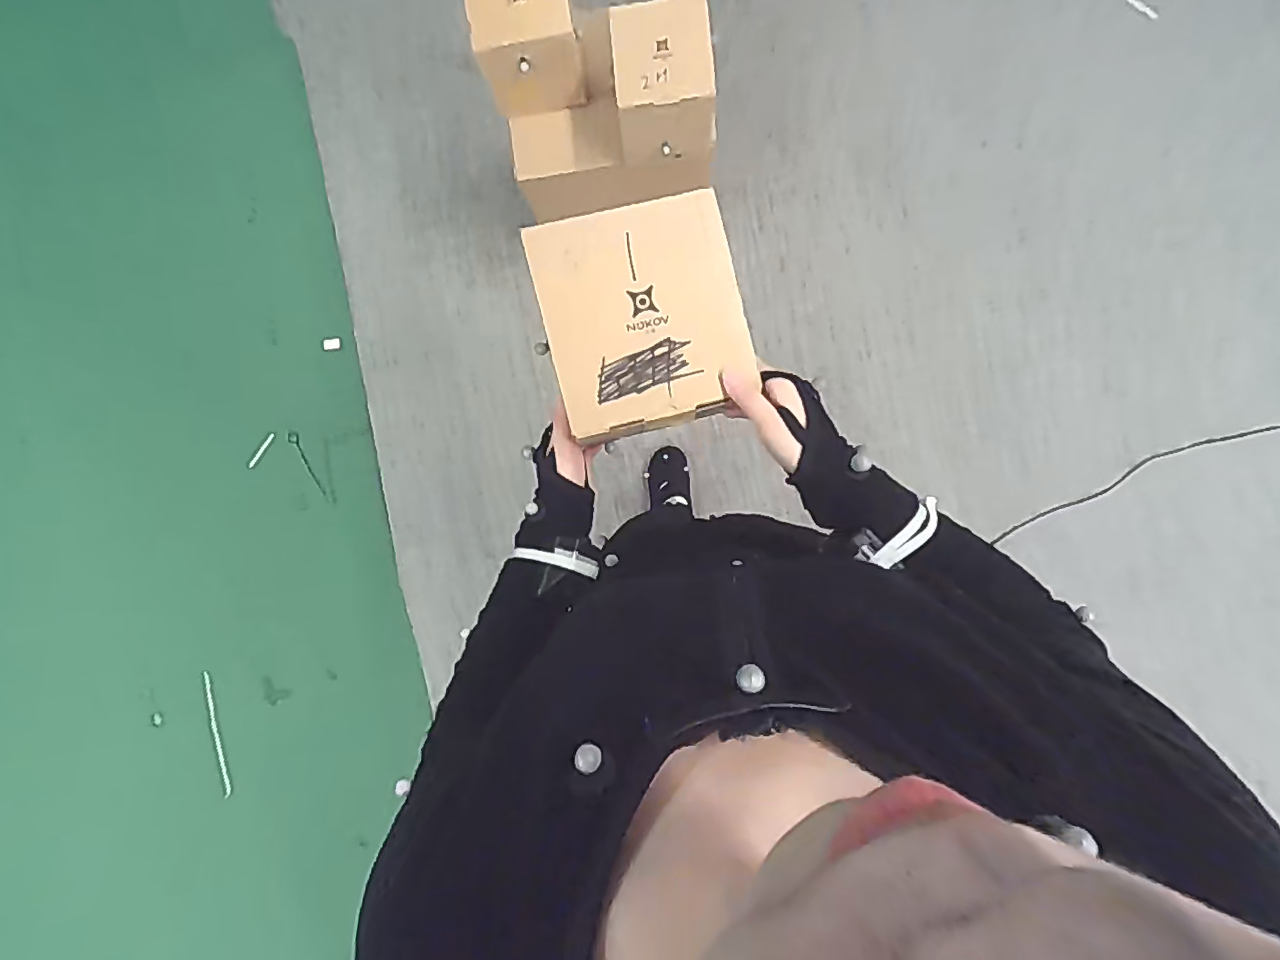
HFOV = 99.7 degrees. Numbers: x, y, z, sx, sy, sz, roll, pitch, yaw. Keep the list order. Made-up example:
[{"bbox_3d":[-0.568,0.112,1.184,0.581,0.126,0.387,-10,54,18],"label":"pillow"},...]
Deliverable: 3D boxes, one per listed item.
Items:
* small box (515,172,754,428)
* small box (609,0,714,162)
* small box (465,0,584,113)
[{"bbox_3d":[-0.007,-0.151,0.520,0.168,0.176,0.179,-14,91,-4],"label":"small box"},{"bbox_3d":[0.038,-0.710,0.967,0.168,0.176,0.179,-5,89,3],"label":"small box"},{"bbox_3d":[-0.204,-0.813,0.984,0.179,0.176,0.168,-8,89,4],"label":"small box"}]
